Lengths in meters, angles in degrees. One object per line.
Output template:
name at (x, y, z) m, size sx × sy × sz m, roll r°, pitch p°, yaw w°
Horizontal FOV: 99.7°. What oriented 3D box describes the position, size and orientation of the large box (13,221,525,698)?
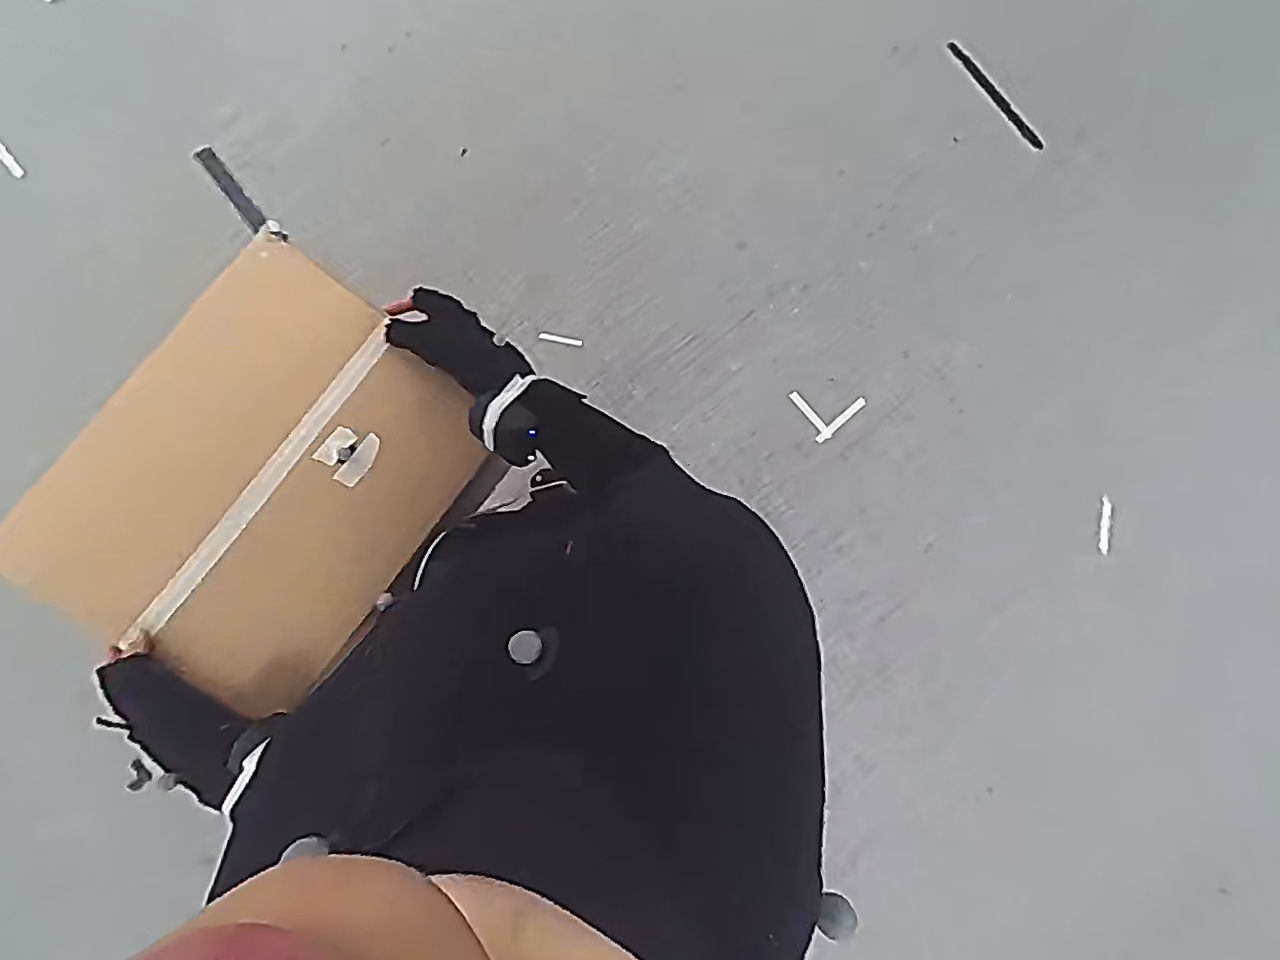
large box at (-0.394, -0.018, 0.702) m, size 0.320 × 0.320 × 0.408 m, roll 38°, pitch 83°, yaw -9°
